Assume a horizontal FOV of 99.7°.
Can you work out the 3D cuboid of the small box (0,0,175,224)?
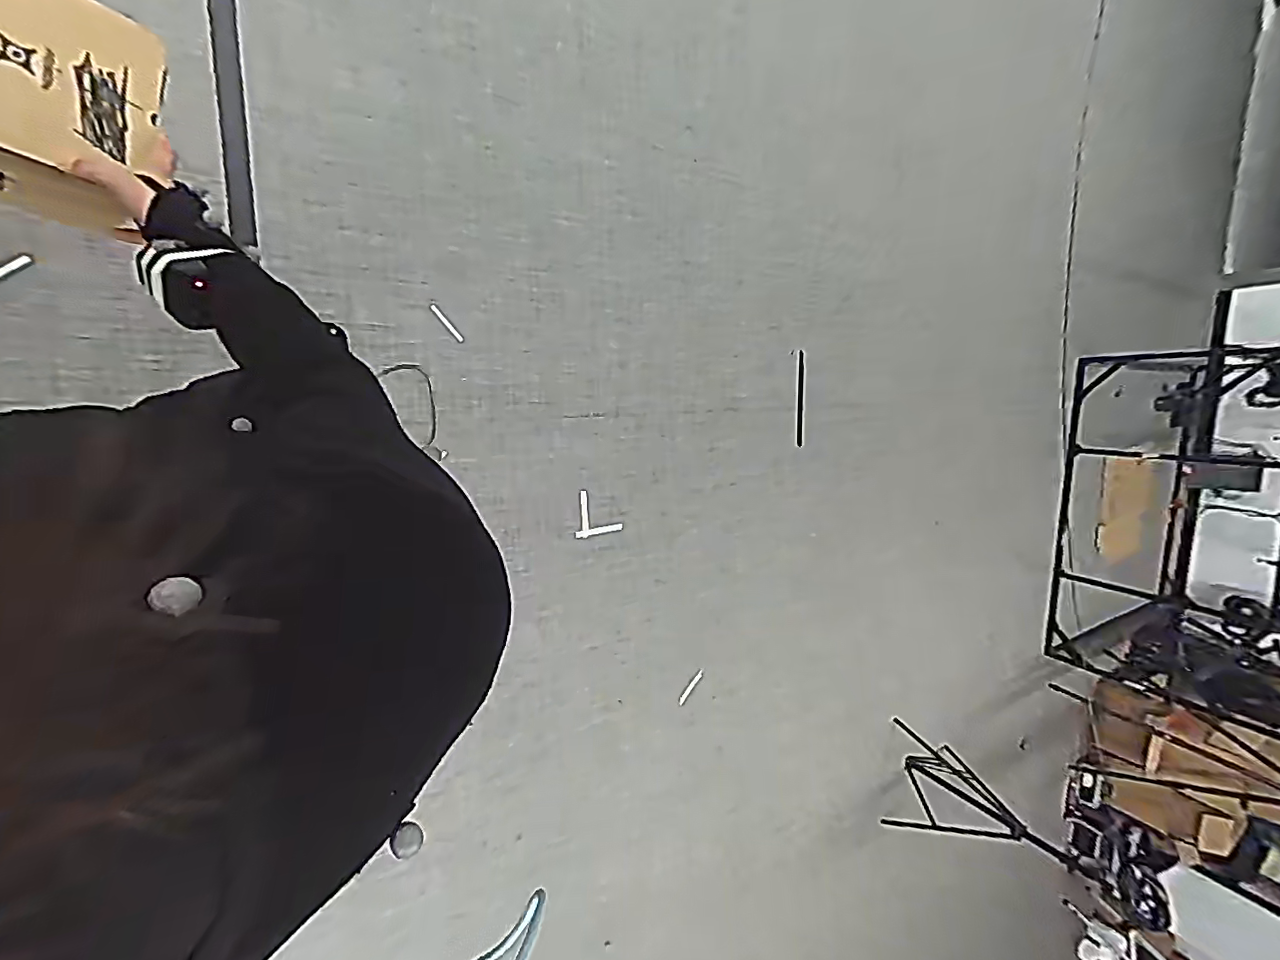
[{"bbox_3d":[-0.589,-0.367,0.515,0.179,0.176,0.168,7,88,-55],"label":"small box"}]
